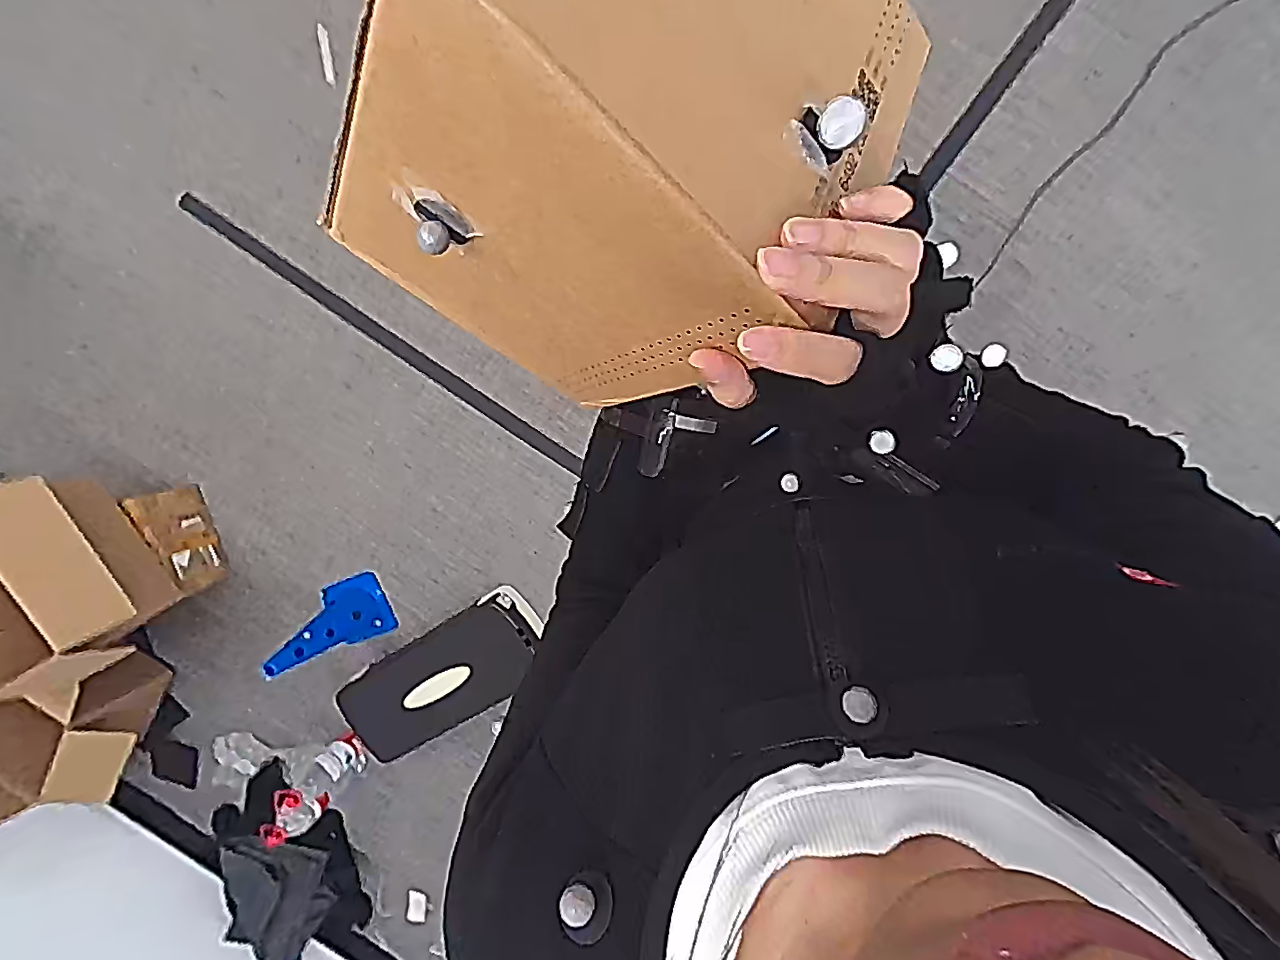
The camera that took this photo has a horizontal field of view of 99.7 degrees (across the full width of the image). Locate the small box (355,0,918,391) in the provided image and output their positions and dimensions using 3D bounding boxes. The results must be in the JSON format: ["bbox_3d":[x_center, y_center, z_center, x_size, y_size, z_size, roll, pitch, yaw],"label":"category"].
[{"bbox_3d":[-0.004,-0.160,0.263,0.176,0.179,0.168,31,72,-31],"label":"small box"}]
